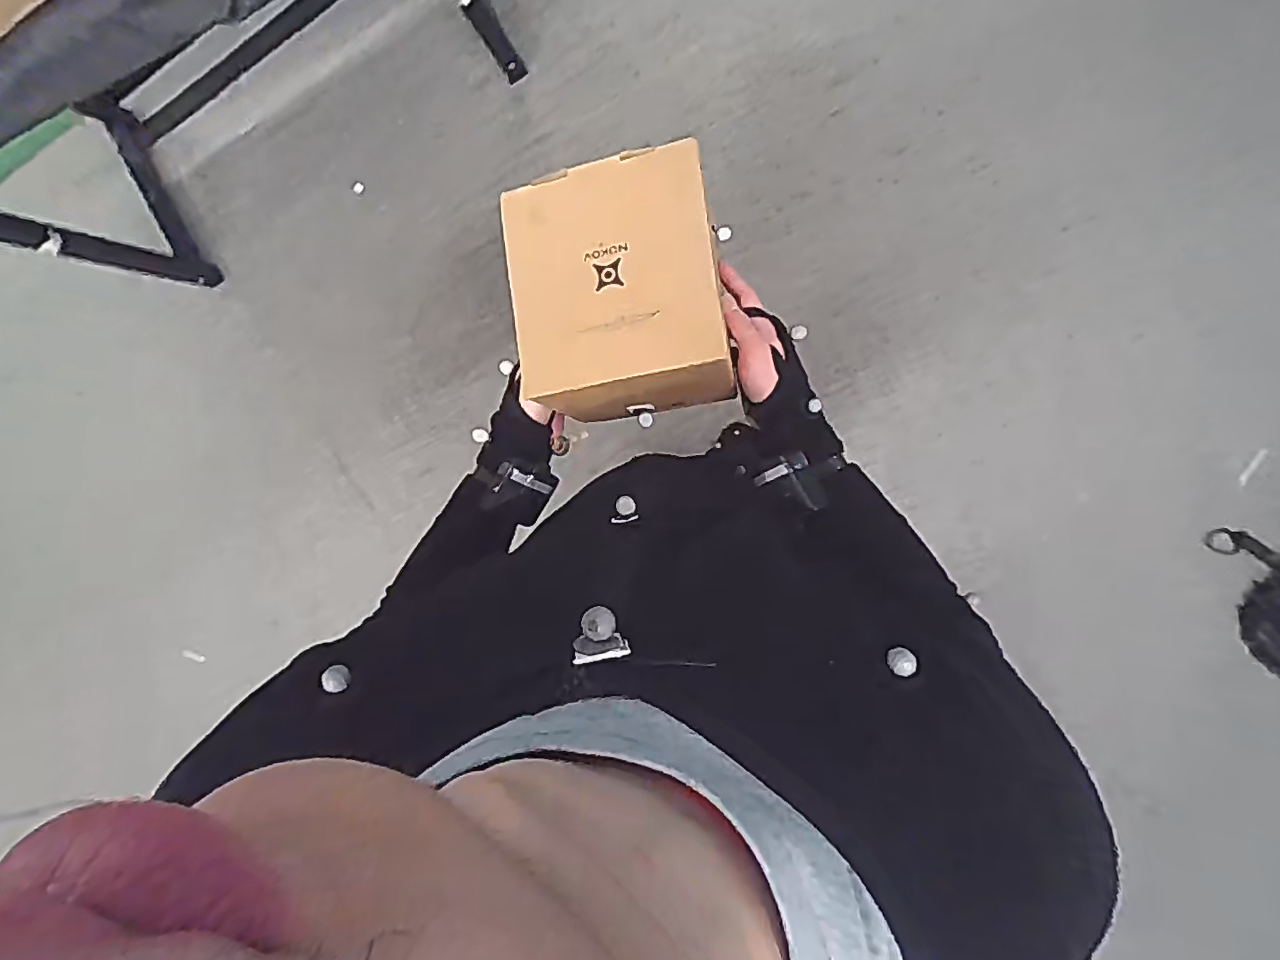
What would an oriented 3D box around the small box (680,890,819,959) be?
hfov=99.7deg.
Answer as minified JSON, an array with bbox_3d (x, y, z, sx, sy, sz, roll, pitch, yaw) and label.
[{"bbox_3d":[0.162,0.733,0.768,0.168,0.176,0.179,-31,93,12],"label":"small box"}]

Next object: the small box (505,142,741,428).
[{"bbox_3d":[-0.003,-0.156,0.498,0.168,0.176,0.179,-10,85,12],"label":"small box"}]

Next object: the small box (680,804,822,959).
[{"bbox_3d":[0.186,0.711,0.930,0.168,0.176,0.179,-32,93,11],"label":"small box"}]
